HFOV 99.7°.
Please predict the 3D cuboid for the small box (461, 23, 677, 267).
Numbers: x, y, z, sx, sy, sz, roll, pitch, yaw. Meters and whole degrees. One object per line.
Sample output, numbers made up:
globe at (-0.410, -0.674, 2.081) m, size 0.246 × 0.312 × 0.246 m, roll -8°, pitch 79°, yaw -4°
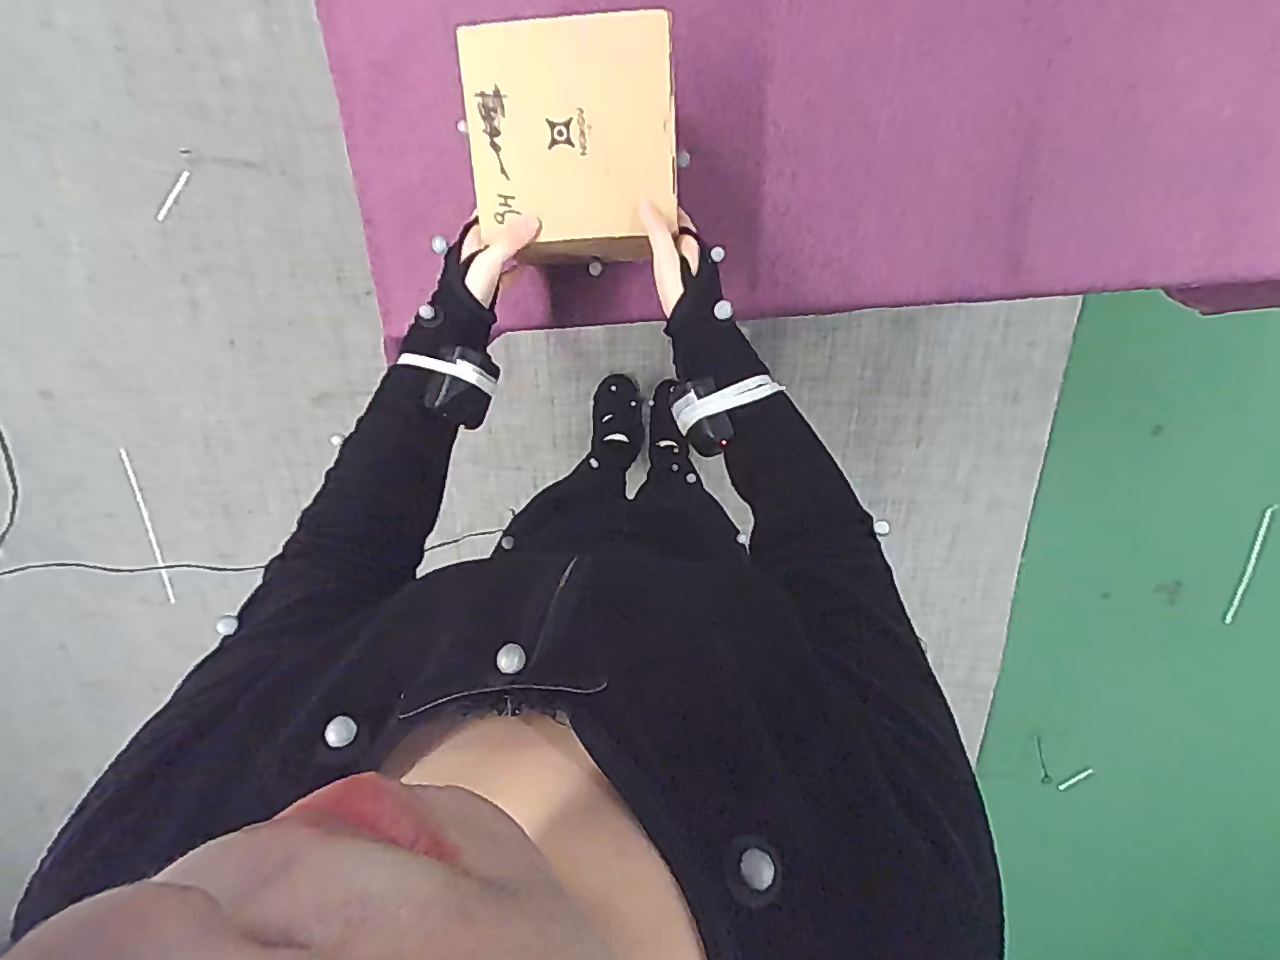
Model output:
small box at (-0.056, -0.308, 0.533) m, size 0.179 × 0.176 × 0.168 m, roll -1°, pitch 105°, yaw 2°
